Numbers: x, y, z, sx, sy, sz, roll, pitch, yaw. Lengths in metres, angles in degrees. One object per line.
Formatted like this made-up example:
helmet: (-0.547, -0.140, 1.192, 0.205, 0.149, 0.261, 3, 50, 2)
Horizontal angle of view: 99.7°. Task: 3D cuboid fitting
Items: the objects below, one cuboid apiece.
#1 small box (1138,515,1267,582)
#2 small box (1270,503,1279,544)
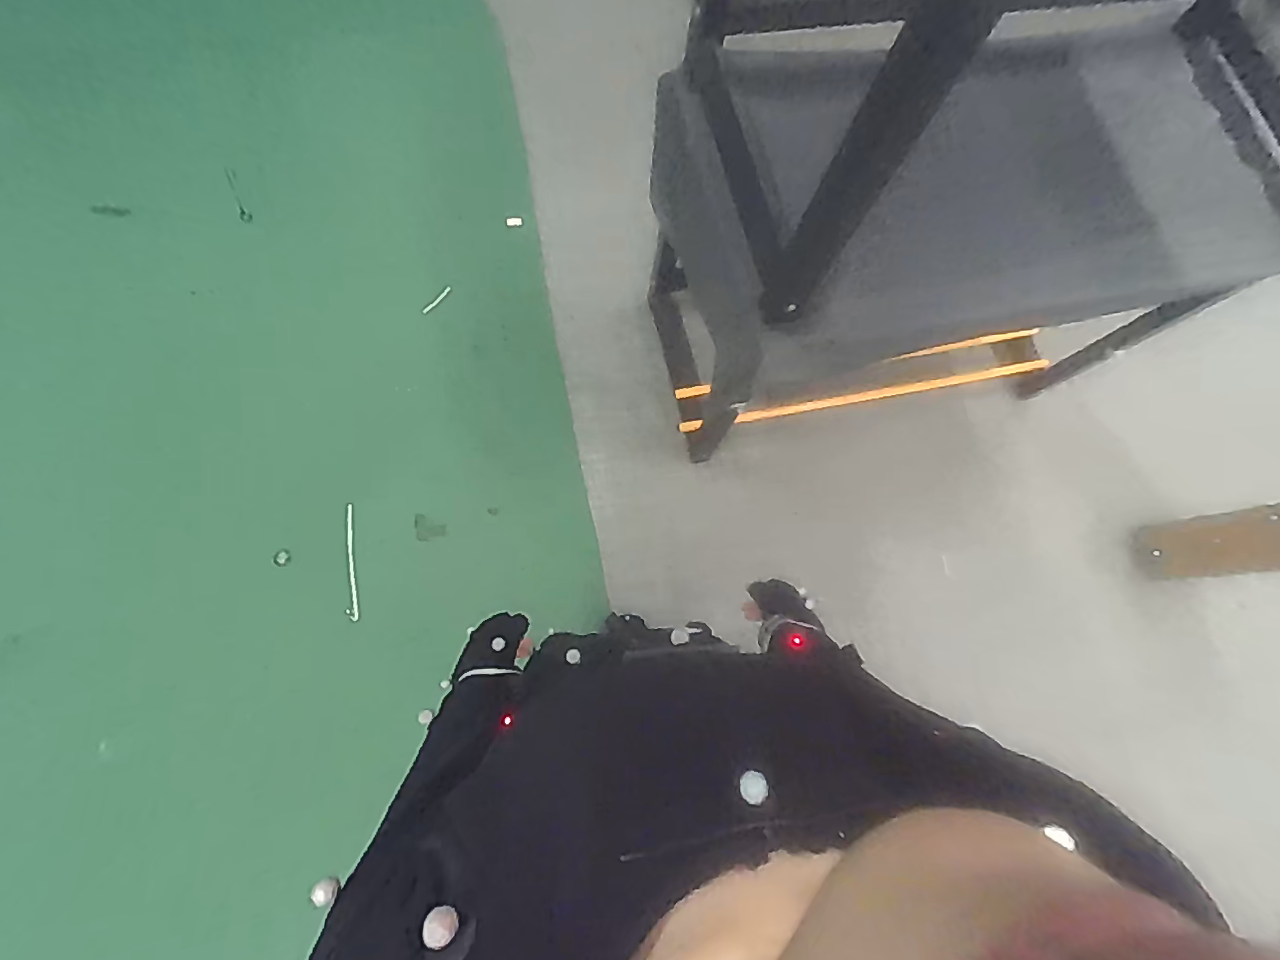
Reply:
small box: (1.622, 0.201, 1.571, 0.179, 0.176, 0.168, -5, 75, -6)
small box: (1.647, 0.114, 1.258, 0.179, 0.176, 0.168, -7, 76, -7)
